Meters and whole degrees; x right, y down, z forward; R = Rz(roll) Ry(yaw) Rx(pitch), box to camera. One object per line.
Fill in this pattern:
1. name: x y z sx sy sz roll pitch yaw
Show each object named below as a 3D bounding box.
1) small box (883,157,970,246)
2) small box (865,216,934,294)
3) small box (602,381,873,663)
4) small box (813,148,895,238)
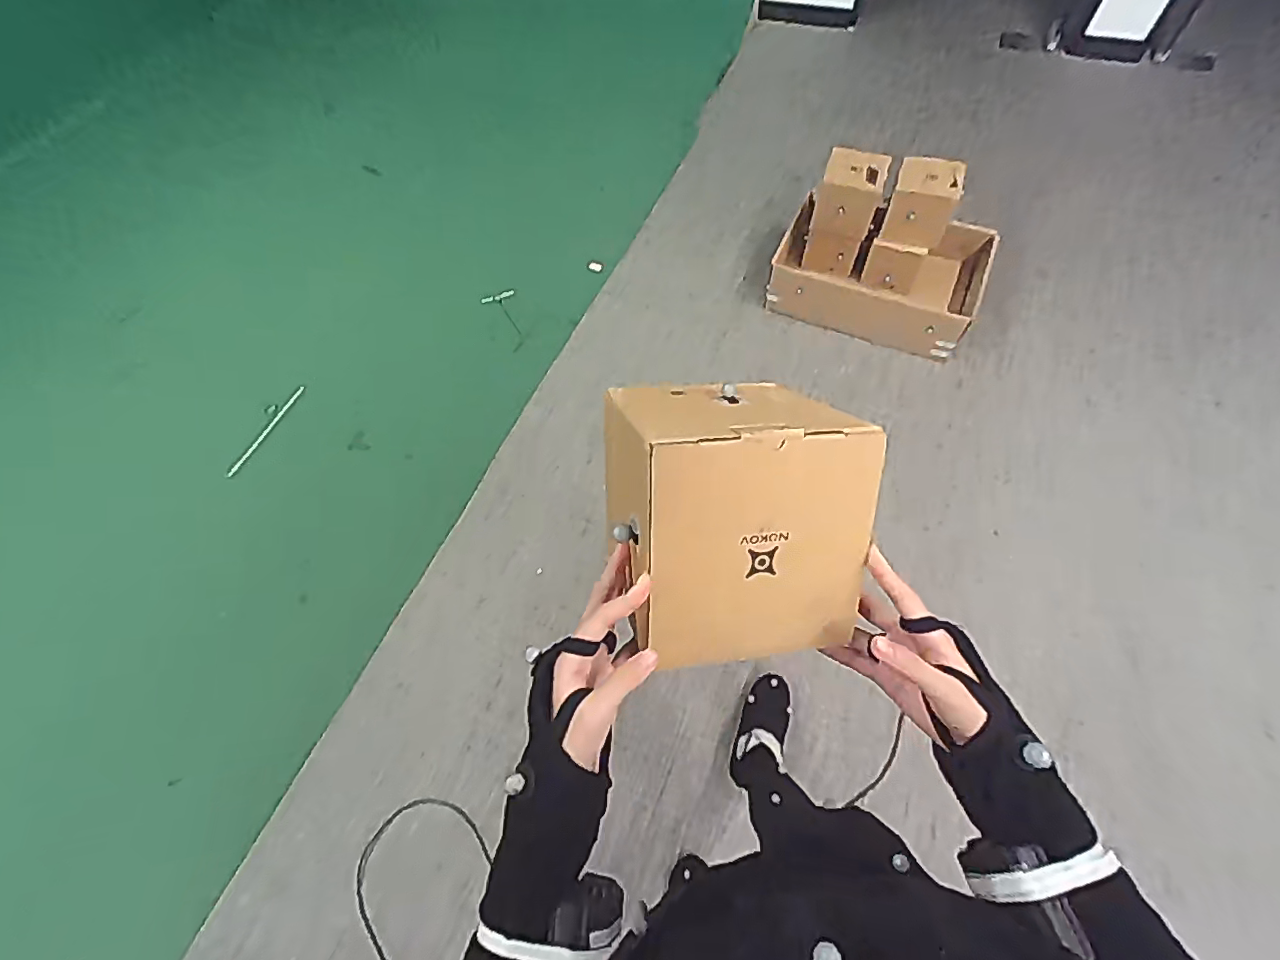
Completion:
1. small box: 0.844 -0.824 1.607 0.179 0.176 0.168 17 67 16
2. small box: 0.847 -0.739 1.749 0.168 0.176 0.179 21 68 18
3. small box: 0.061 0.020 0.450 0.168 0.179 0.176 -4 20 -11
4. small box: 0.648 -0.871 1.651 0.179 0.176 0.168 18 68 14
